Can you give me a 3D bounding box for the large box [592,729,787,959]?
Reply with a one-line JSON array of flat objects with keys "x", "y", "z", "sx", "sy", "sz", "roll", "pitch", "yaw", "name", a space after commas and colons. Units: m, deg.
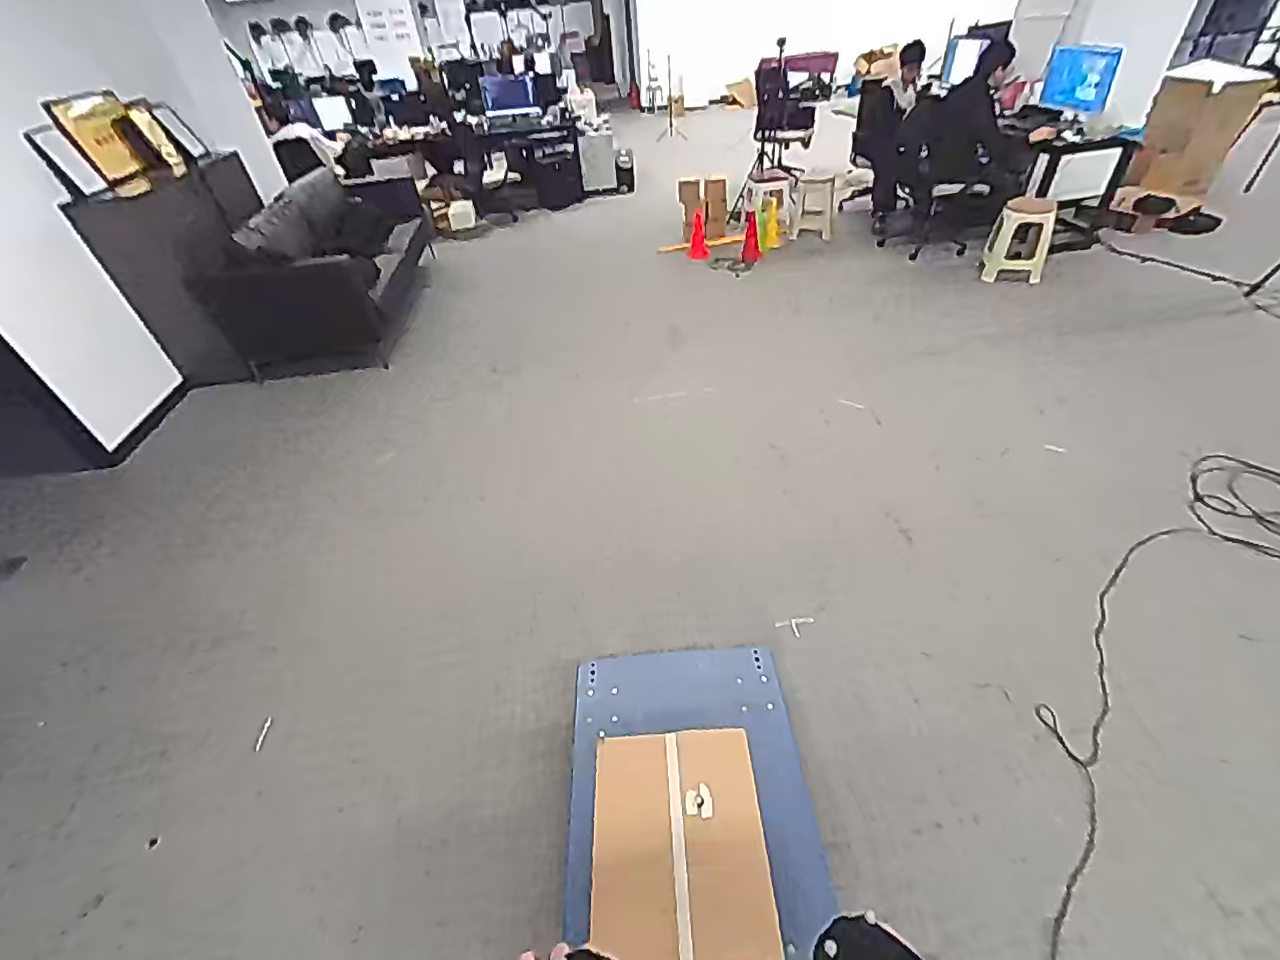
[{"x": 0.084, "y": 0.777, "z": 1.075, "sx": 0.320, "sy": 0.320, "sz": 0.408, "roll": -5, "pitch": 39, "yaw": 2, "name": "large box"}]
